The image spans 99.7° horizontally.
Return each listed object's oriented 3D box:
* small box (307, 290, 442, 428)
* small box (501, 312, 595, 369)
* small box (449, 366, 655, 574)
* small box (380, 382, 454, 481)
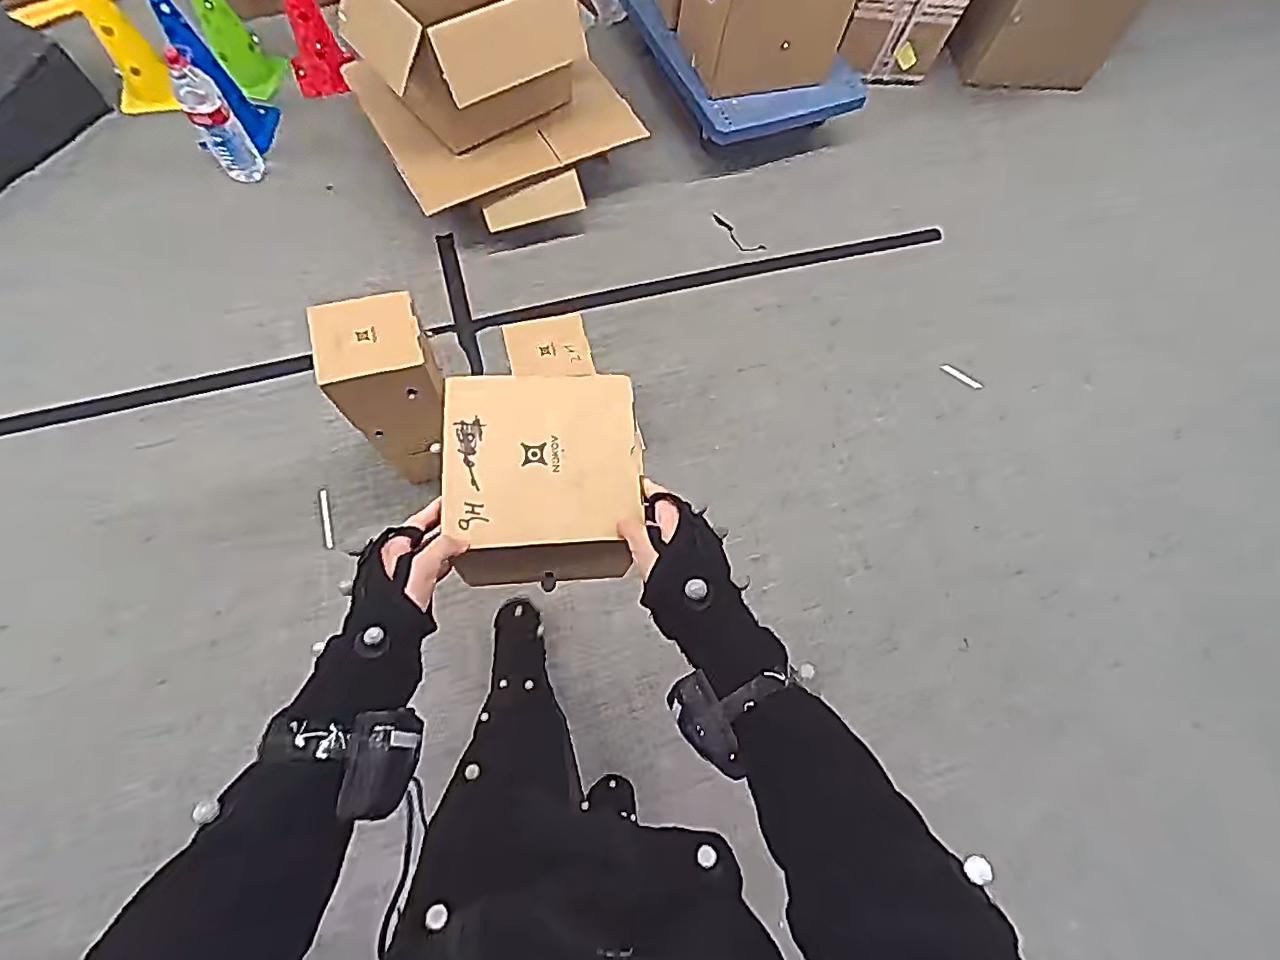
[{"bbox_3d":[-0.479,-0.219,1.001,0.179,0.176,0.168,-16,71,-11],"label":"small box"},{"bbox_3d":[-0.202,-0.248,1.216,0.179,0.176,0.168,-12,73,-12],"label":"small box"},{"bbox_3d":[-0.092,-0.001,0.559,0.179,0.176,0.168,-2,70,-11],"label":"small box"},{"bbox_3d":[-0.511,-0.112,1.309,0.179,0.176,0.168,-14,72,-12],"label":"small box"}]
